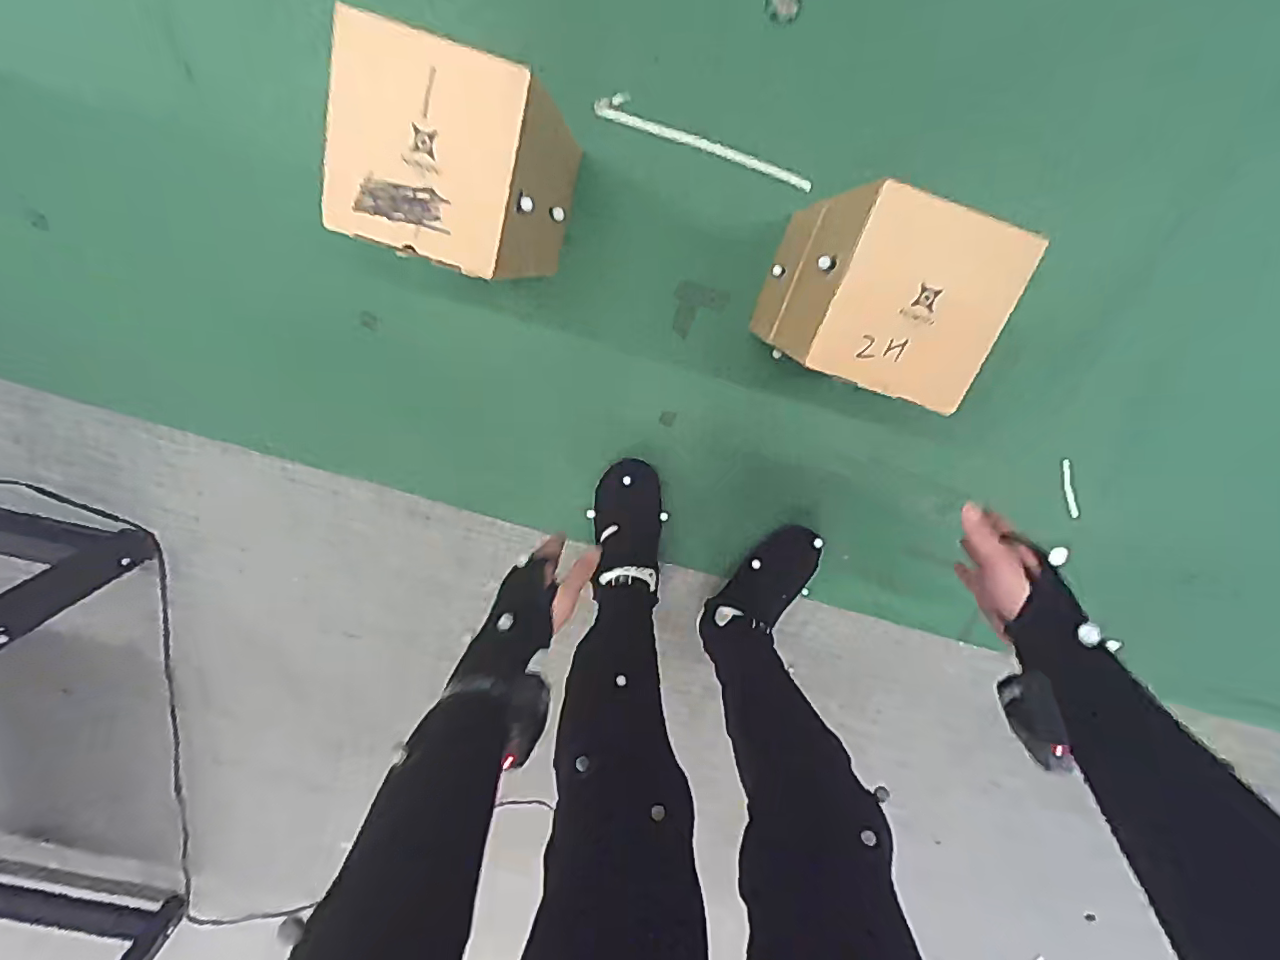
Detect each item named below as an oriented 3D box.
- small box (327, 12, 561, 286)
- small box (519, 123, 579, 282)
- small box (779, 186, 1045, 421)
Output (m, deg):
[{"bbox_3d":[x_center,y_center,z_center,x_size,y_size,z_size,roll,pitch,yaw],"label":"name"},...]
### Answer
[{"bbox_3d":[-0.187,-0.314,0.554,0.168,0.176,0.179,17,111,-5],"label":"small box"},{"bbox_3d":[-0.183,-0.374,0.707,0.168,0.176,0.179,17,111,-5],"label":"small box"},{"bbox_3d":[0.269,-0.189,0.588,0.168,0.176,0.179,18,111,-5],"label":"small box"}]
